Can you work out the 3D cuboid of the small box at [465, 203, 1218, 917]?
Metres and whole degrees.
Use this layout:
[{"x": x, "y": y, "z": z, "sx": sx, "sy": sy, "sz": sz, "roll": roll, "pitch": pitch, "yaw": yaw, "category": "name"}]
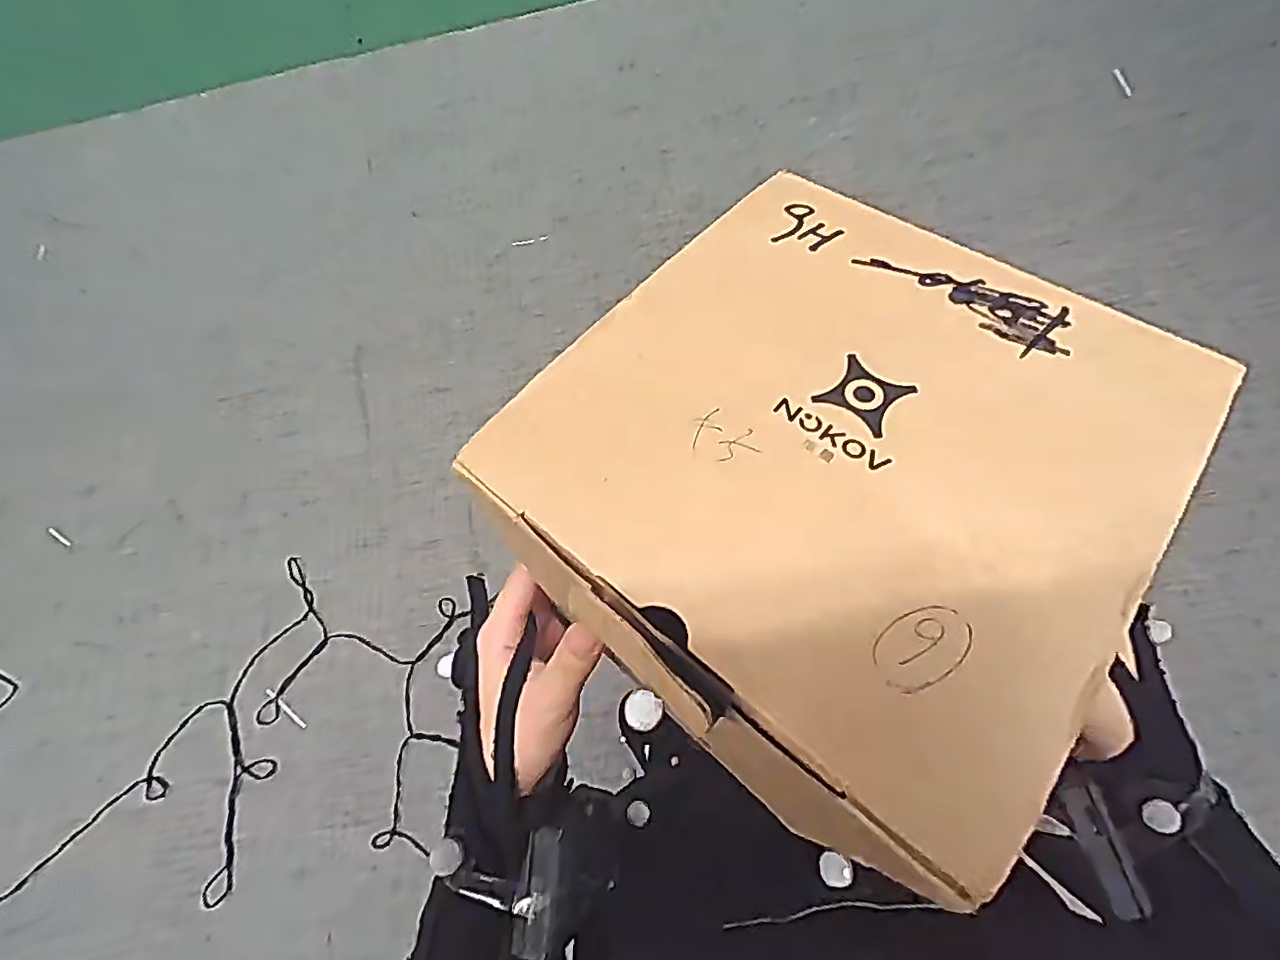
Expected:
[{"x": 0.065, "y": 0.027, "z": 0.238, "sx": 0.168, "sy": 0.176, "sz": 0.179, "roll": 37, "pitch": 71, "yaw": 21, "category": "small box"}]
